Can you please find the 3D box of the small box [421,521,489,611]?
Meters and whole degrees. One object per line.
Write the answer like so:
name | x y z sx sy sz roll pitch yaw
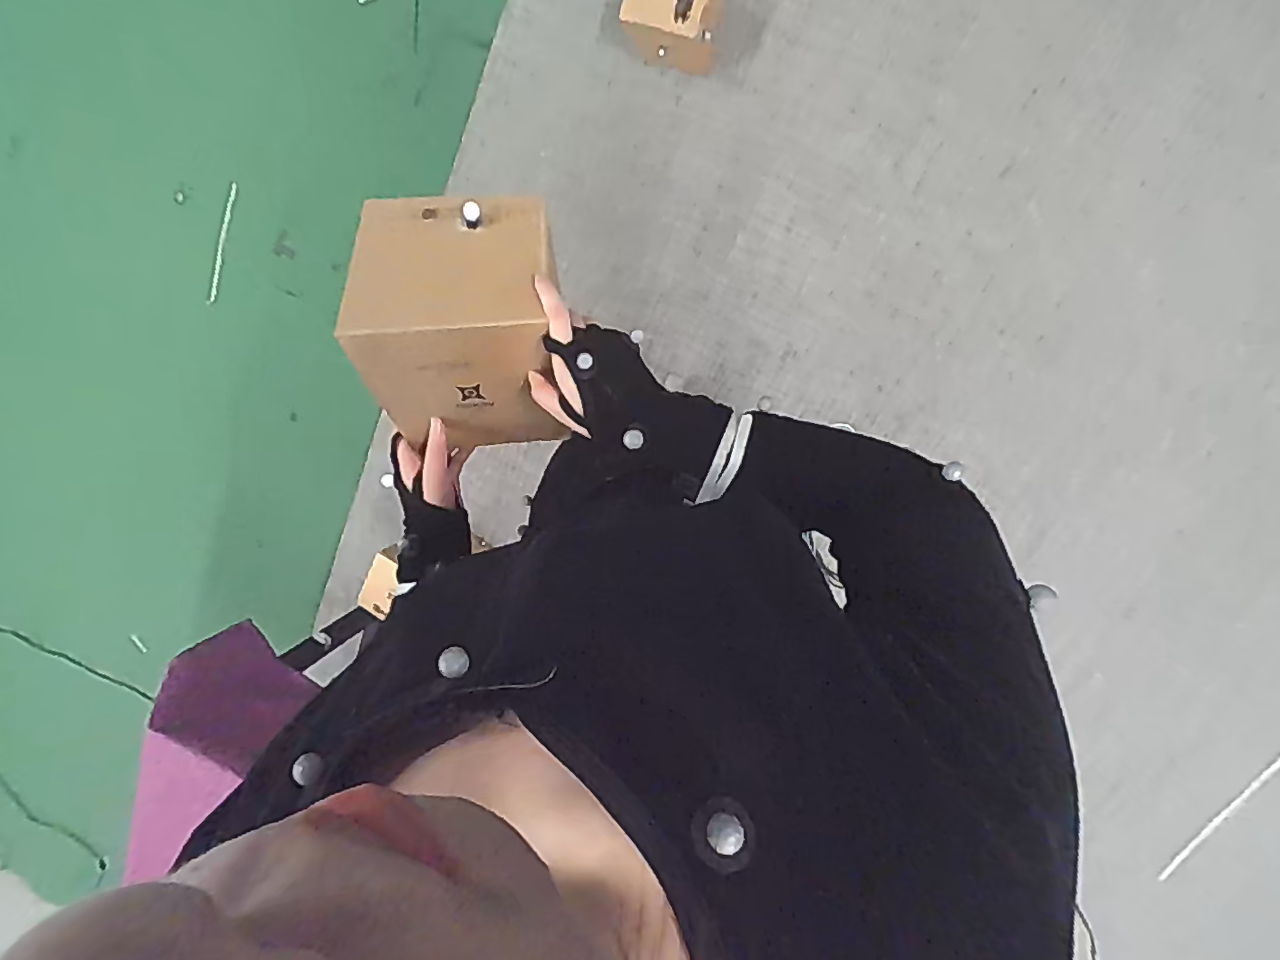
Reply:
small box | -0.580 0.250 1.620 0.168 0.176 0.179 36 108 4

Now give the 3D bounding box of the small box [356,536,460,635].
small box | -0.617 0.276 1.461 0.168 0.176 0.179 32 106 5
